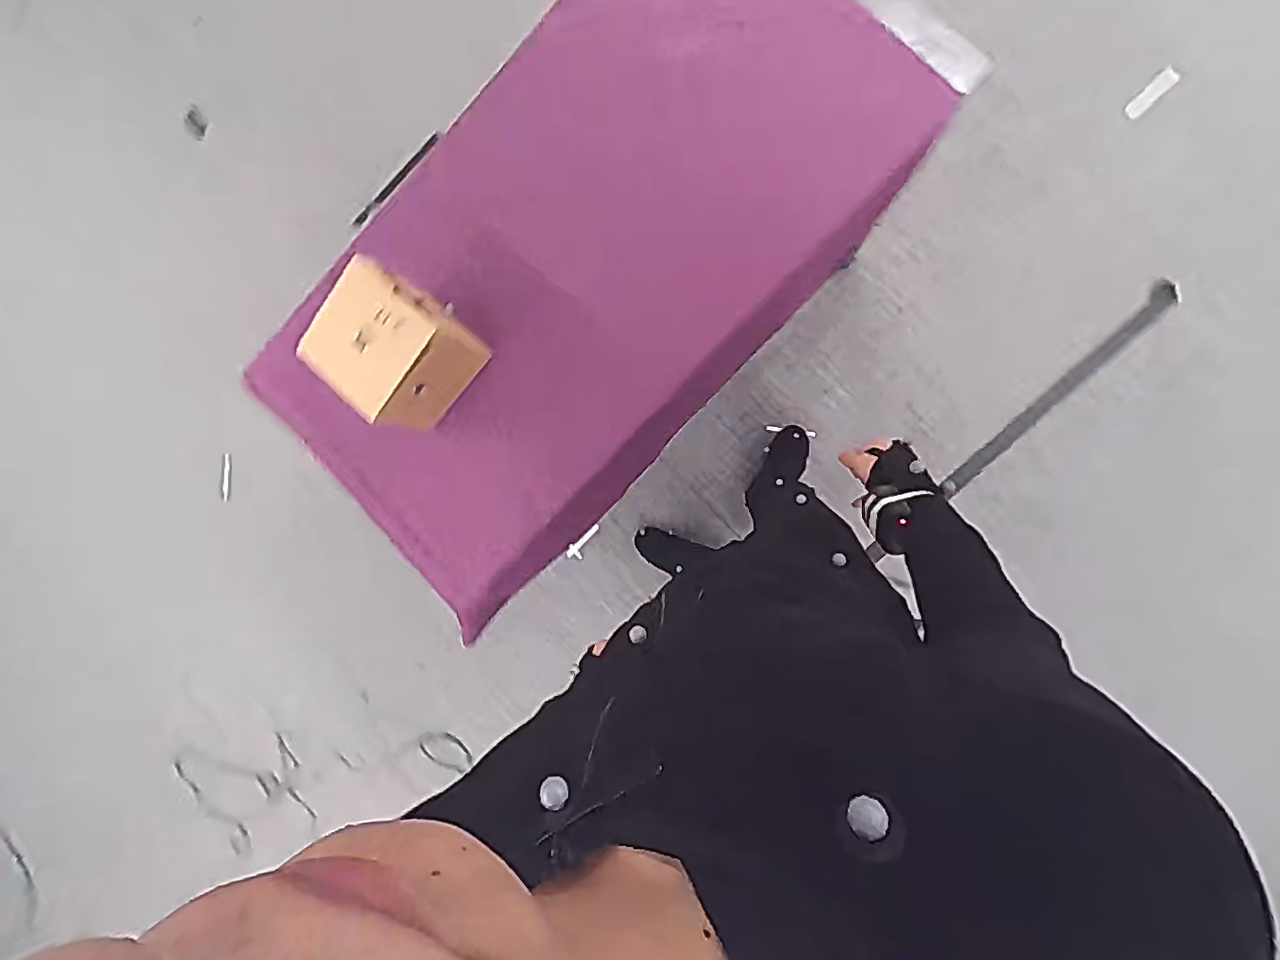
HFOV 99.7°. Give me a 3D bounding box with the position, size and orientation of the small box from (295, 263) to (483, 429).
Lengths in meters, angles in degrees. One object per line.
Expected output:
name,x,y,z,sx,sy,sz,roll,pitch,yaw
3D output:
small box,-0.383,-0.197,0.858,0.168,0.176,0.179,42,96,4
